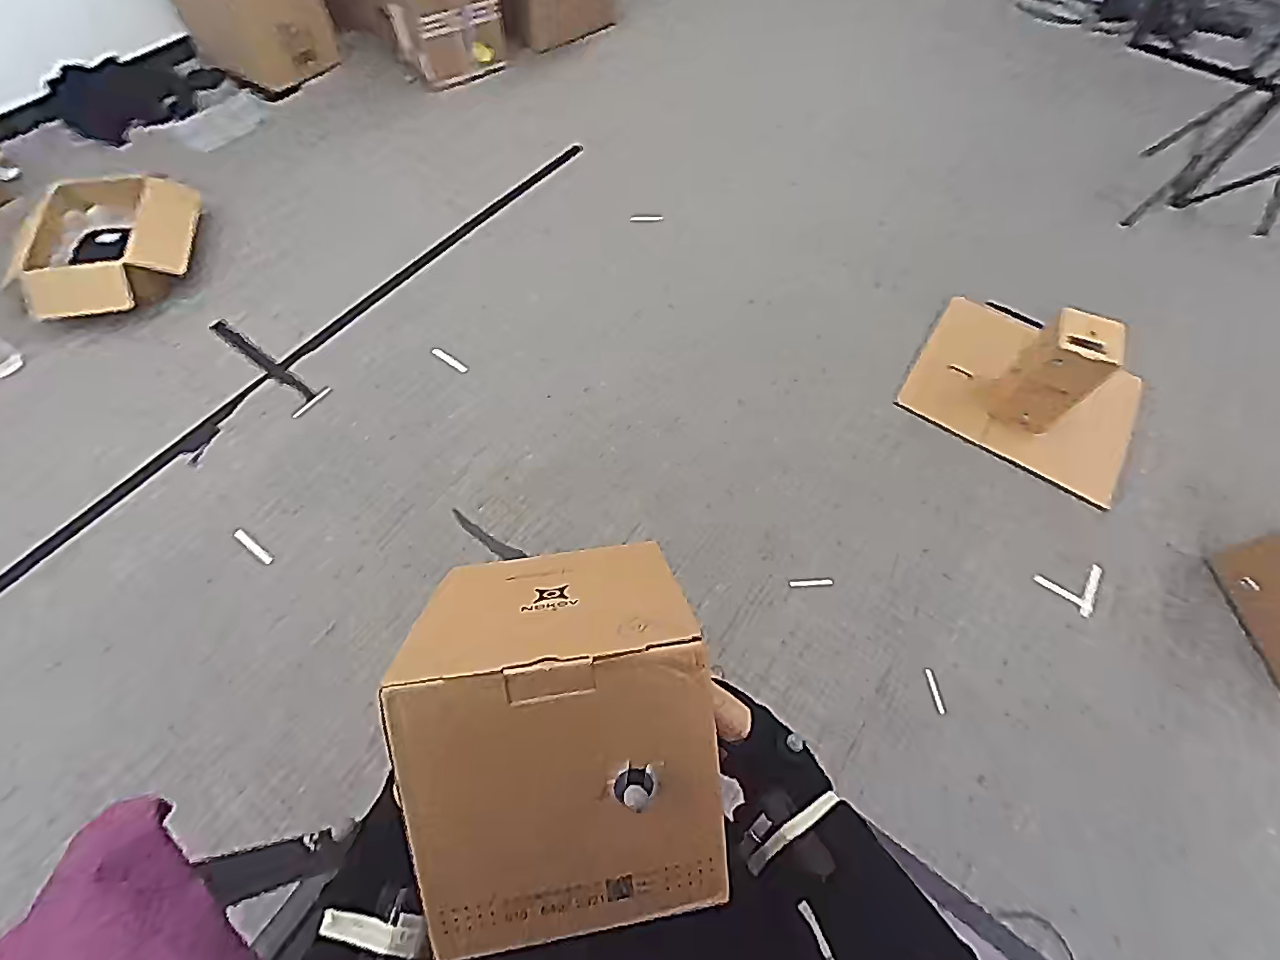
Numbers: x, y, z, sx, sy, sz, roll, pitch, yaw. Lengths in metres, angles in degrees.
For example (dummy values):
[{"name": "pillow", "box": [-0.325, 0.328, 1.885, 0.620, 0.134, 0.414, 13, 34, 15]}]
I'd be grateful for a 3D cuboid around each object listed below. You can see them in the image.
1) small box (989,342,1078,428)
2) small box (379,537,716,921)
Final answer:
[{"name": "small box", "box": [1.258, -0.302, 1.737, 0.168, 0.176, 0.179, 23, 64, 12]}, {"name": "small box", "box": [-0.050, 0.152, 0.367, 0.168, 0.179, 0.176, -6, 101, -6]}]
